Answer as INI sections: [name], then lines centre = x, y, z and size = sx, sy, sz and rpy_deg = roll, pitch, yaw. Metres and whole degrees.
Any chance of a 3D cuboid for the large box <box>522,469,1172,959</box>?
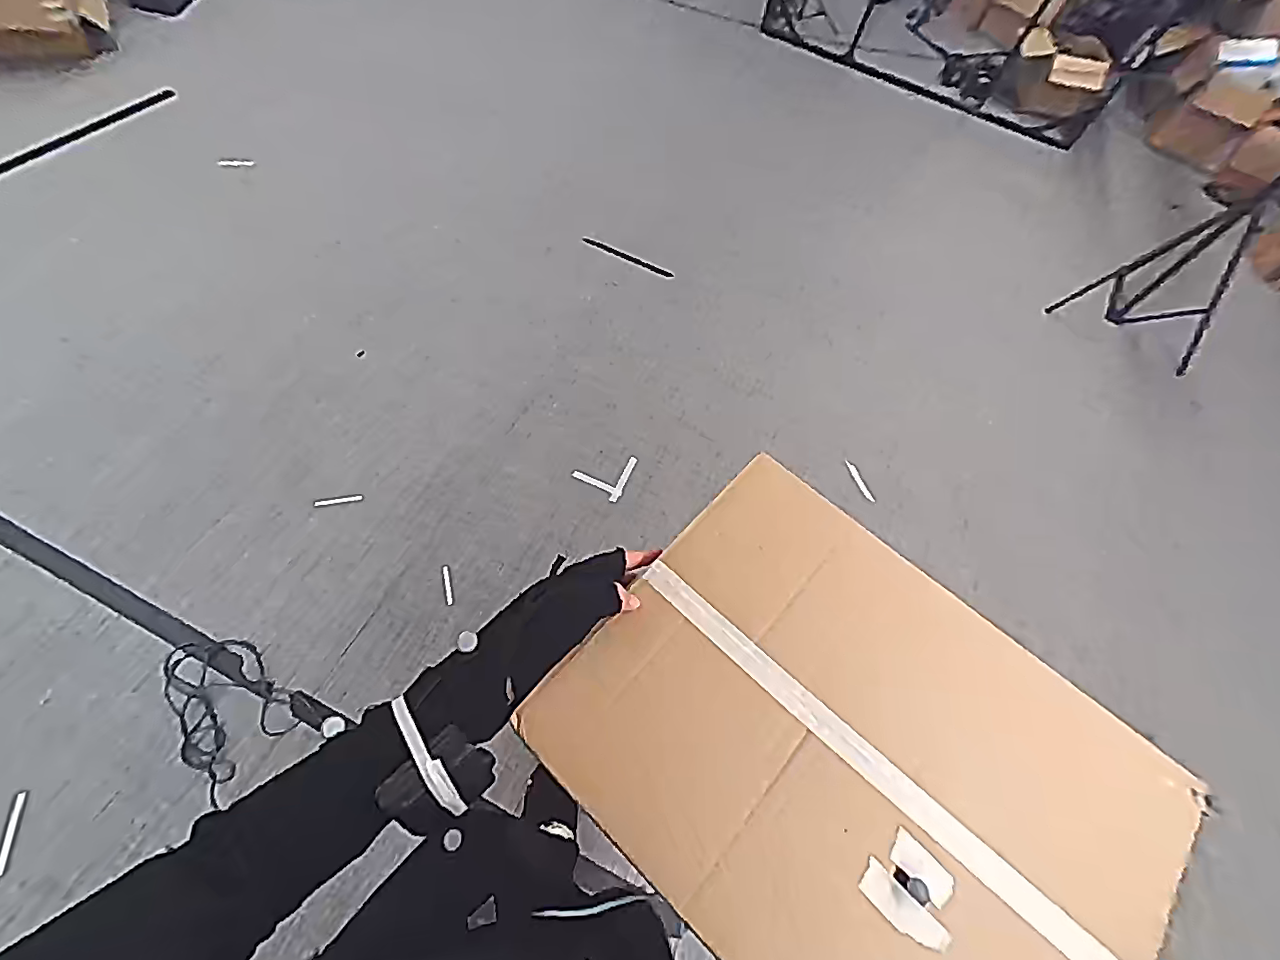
[large box]
centre = 0.147, 0.270, 0.536
size = 0.408, 0.320, 0.320
rpy_deg = 40, 68, 16
